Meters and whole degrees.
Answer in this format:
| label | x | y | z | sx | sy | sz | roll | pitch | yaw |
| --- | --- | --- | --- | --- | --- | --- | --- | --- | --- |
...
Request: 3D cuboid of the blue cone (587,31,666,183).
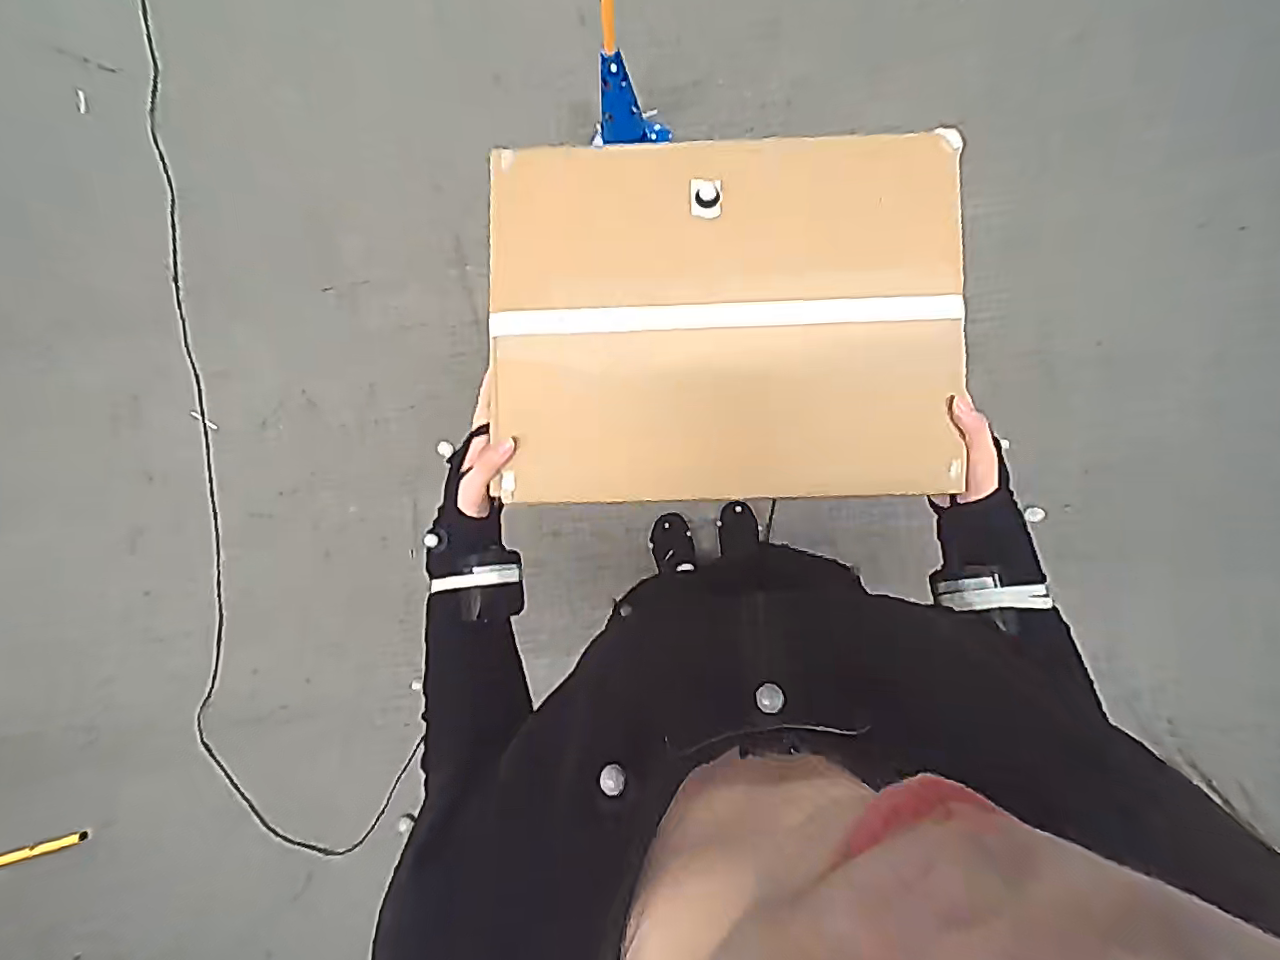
| label | x | y | z | sx | sy | sz | roll | pitch | yaw |
| --- | --- | --- | --- | --- | --- | --- | --- | --- | --- |
| blue cone | -0.052 | -0.948 | 1.349 | 0.192 | 0.380 | 0.193 | 25 | 90 | 4 |
